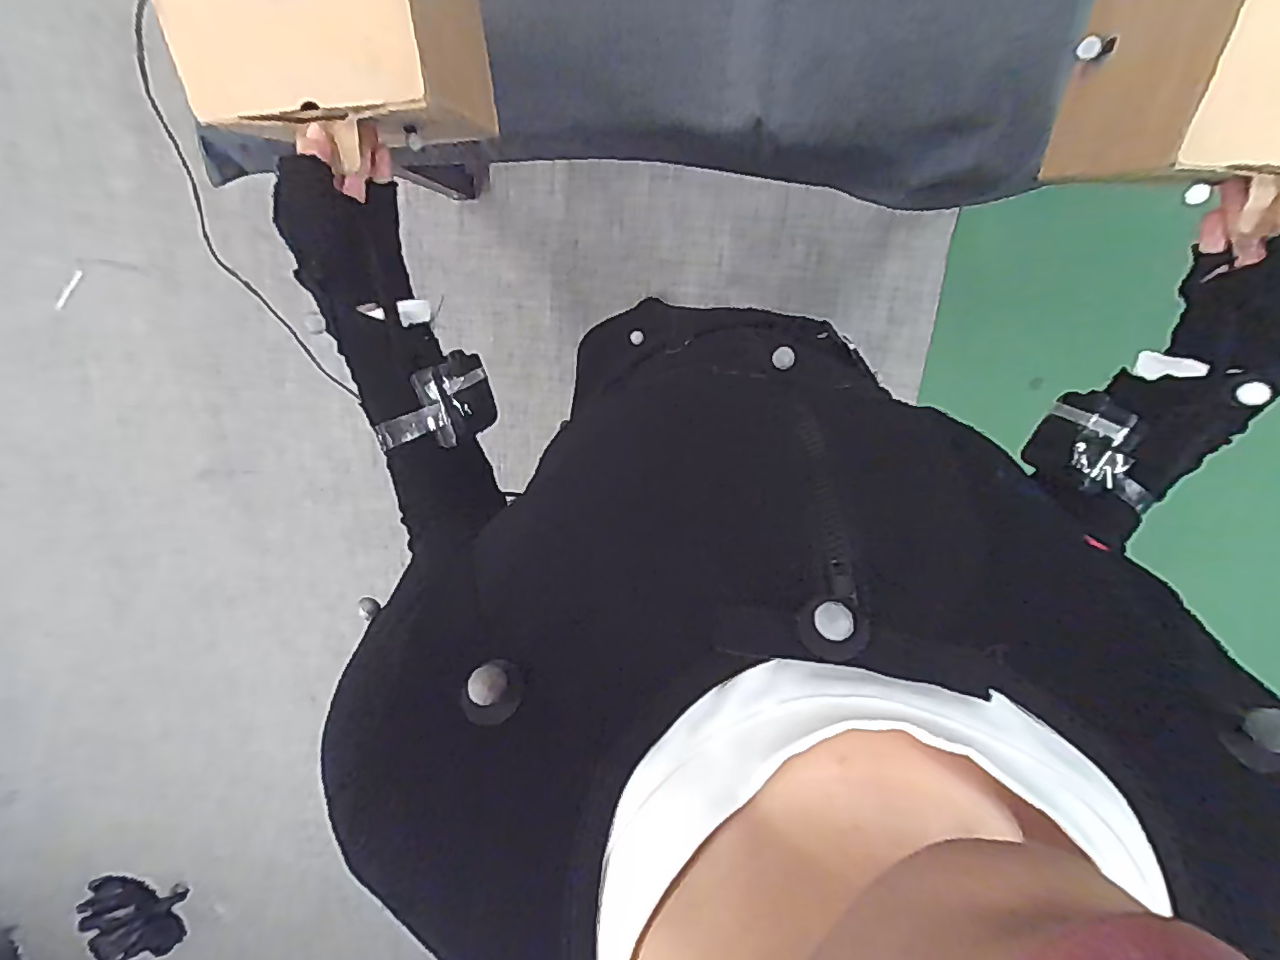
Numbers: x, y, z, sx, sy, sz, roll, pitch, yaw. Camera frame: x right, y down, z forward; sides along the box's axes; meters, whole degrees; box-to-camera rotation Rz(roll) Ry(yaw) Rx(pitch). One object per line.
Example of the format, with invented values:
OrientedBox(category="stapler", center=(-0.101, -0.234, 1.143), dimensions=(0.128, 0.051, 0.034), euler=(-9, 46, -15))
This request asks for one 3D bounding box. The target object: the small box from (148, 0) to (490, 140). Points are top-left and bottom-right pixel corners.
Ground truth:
OrientedBox(category="small box", center=(-0.220, -0.357, 0.390), dimensions=(0.168, 0.176, 0.179), euler=(-3, 115, 3))

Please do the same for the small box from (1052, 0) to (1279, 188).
OrientedBox(category="small box", center=(0.422, -0.296, 0.358), dimensions=(0.168, 0.176, 0.179), euler=(6, 118, 6))
